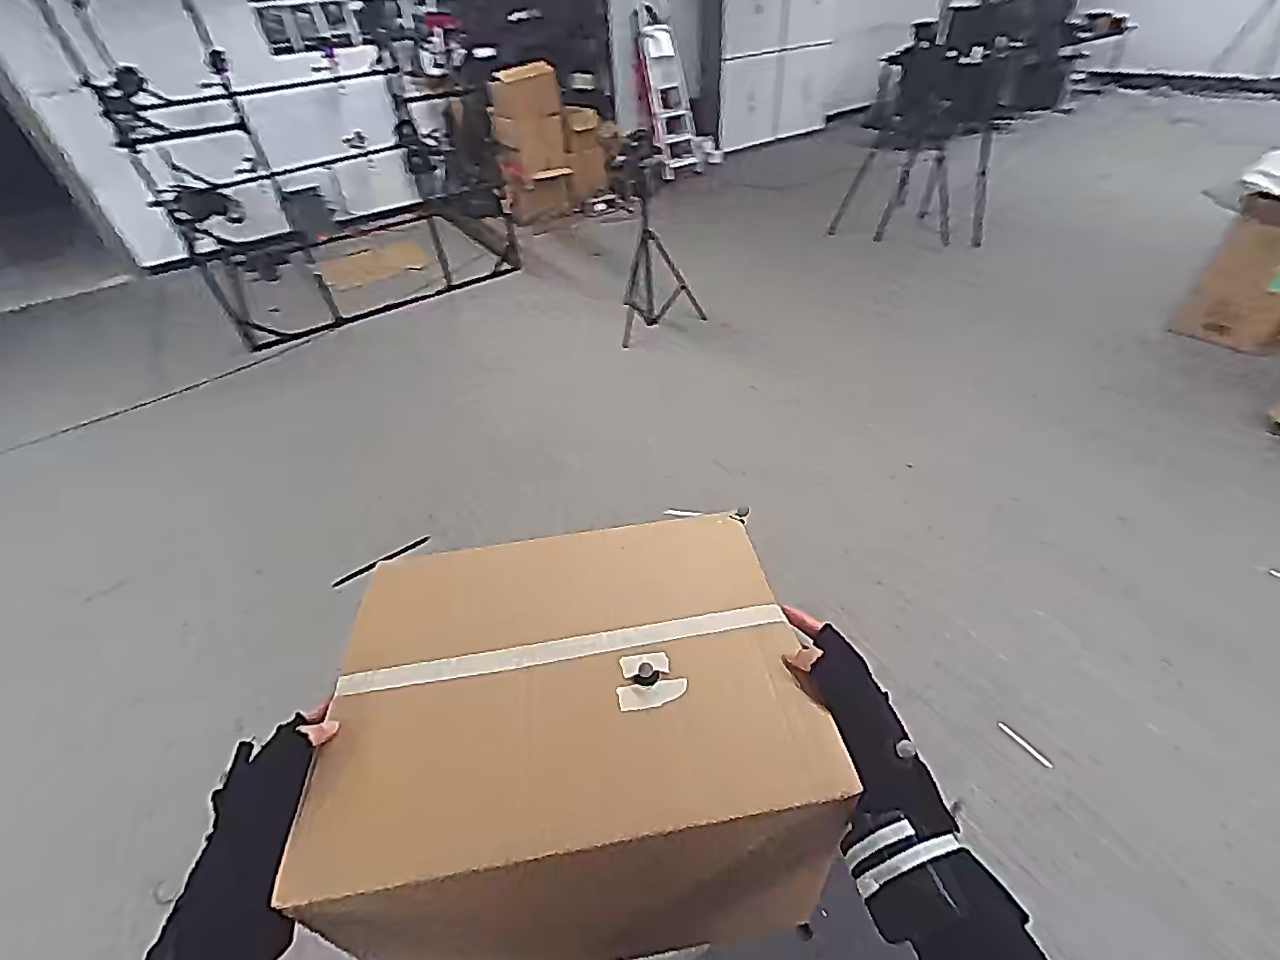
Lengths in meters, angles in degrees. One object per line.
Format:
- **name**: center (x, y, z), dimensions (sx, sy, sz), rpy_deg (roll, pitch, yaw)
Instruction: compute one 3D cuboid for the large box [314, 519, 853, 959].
- **large box**: center (-0.046, 0.280, 0.596), dimensions (0.408, 0.320, 0.320), rpy_deg (-7, 38, -4)
